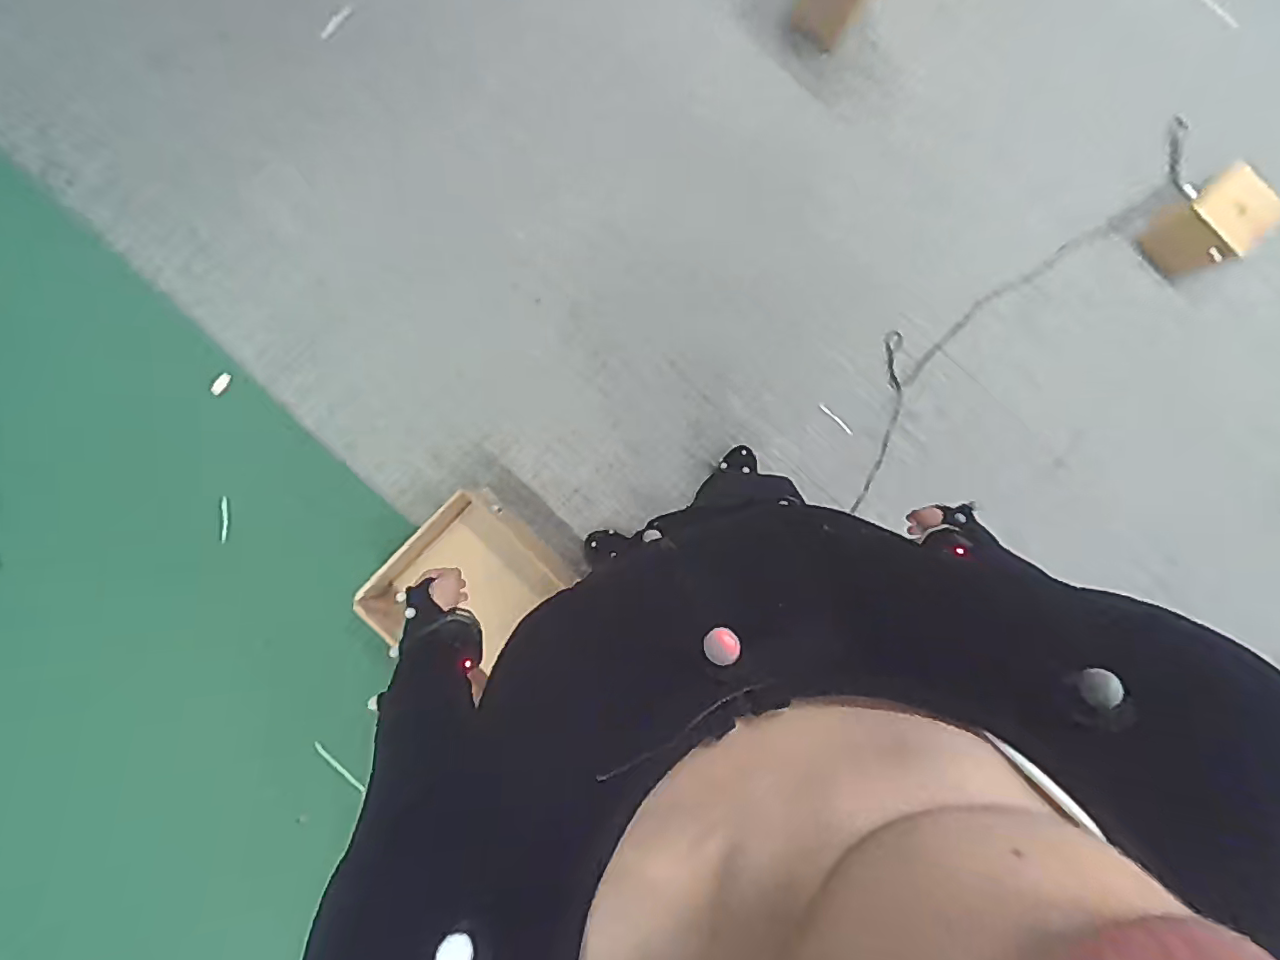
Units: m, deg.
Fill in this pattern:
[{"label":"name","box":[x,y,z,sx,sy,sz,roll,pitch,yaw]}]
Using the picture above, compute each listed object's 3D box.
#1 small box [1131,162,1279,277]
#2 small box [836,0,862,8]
[{"label":"small box","box":[1.457,-0.666,1.407,0.179,0.176,0.168,43,90,-1]},{"label":"small box","box":[0.504,-1.260,1.245,0.179,0.176,0.168,40,91,-1]}]
